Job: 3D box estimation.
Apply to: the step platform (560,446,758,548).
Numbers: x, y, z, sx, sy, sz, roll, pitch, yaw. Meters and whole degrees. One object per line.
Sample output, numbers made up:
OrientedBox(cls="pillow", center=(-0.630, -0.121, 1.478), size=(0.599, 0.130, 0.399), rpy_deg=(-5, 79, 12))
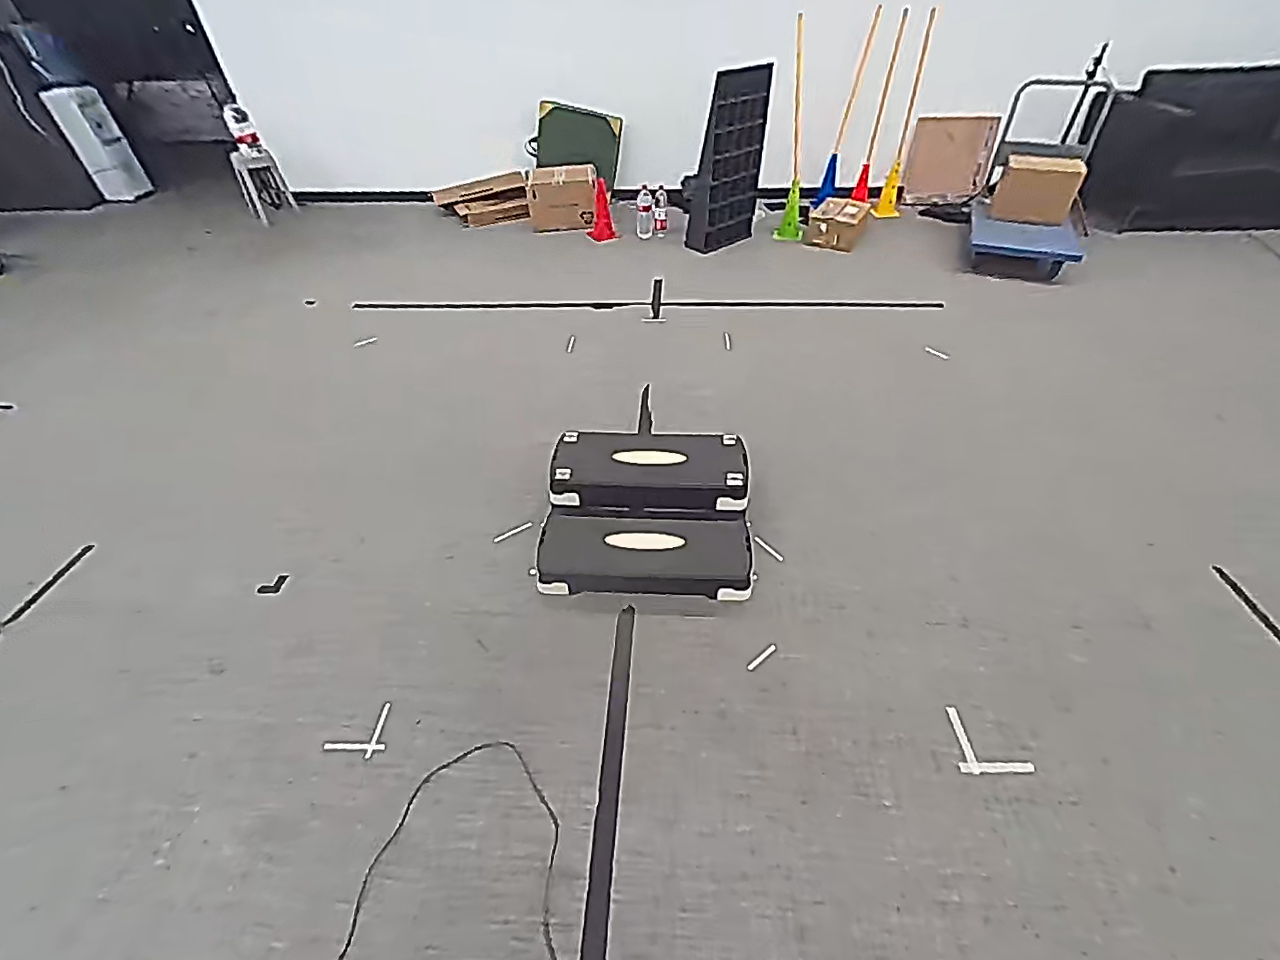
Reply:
OrientedBox(cls="step platform", center=(0.068, 0.050, 1.900), size=(0.684, 0.204, 0.286), rpy_deg=(4, 42, 6))
